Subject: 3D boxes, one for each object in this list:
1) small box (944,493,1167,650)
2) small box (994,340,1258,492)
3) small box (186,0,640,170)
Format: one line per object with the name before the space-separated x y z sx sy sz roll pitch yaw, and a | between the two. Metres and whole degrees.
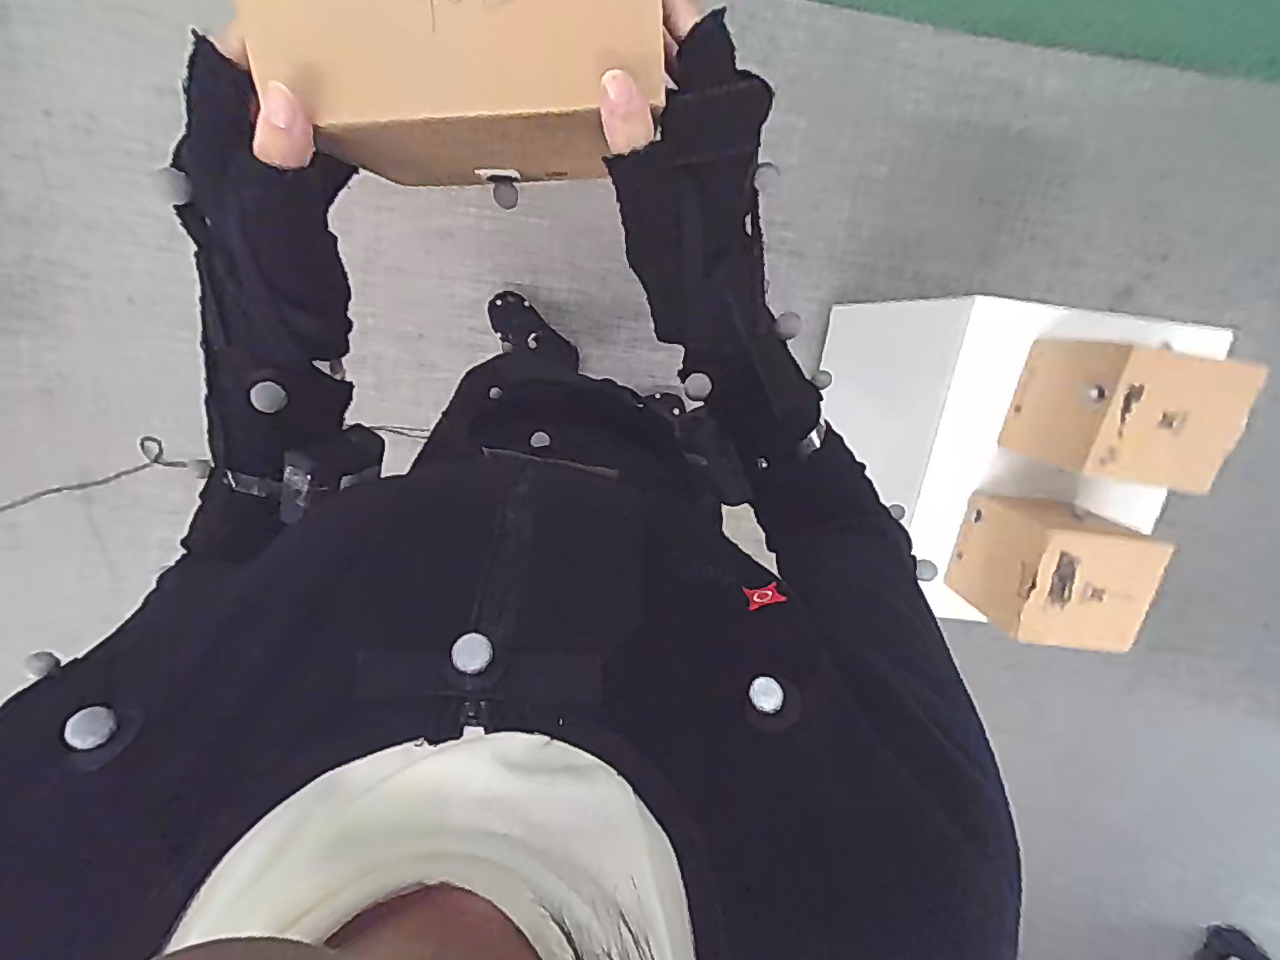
small box | 0.592 0.125 0.799 0.179 0.176 0.168 8 105 -5
small box | 0.639 -0.095 0.737 0.179 0.176 0.168 9 105 -5
small box | -0.090 -0.264 0.252 0.168 0.176 0.179 -4 111 -1
